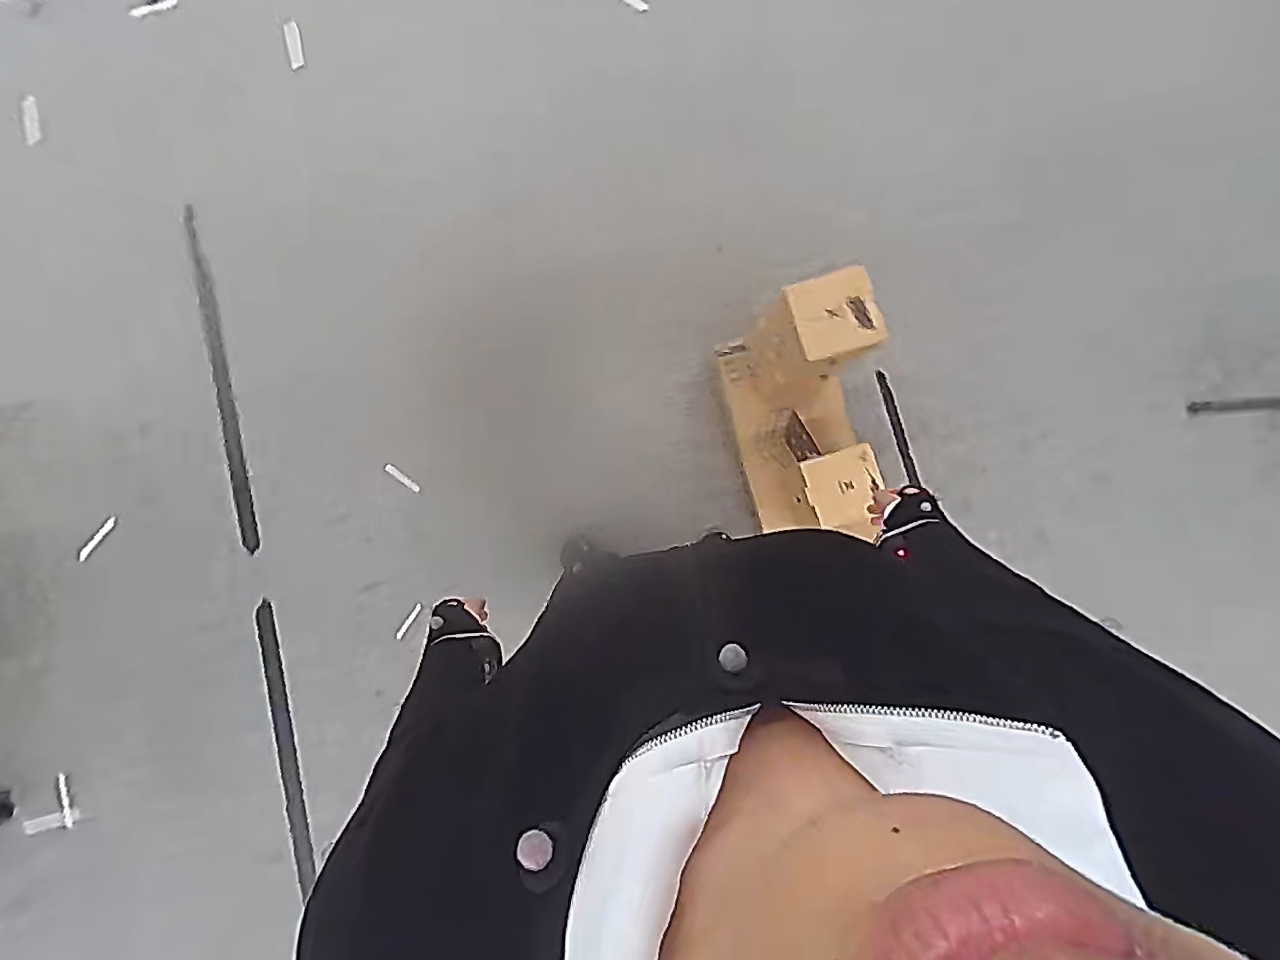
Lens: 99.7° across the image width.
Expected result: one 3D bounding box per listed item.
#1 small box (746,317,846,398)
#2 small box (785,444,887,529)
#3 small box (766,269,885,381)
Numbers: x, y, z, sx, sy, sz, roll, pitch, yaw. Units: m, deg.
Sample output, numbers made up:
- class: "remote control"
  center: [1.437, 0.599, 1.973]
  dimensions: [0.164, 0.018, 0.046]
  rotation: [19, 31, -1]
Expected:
- class: "small box"
  center: [0.383, -0.316, 1.354]
  dimensions: [0.179, 0.176, 0.168]
  rotation: [-14, 86, -2]
- class: "small box"
  center: [0.469, 0.023, 1.332]
  dimensions: [0.179, 0.176, 0.168]
  rotation: [-16, 84, -1]
- class: "small box"
  center: [0.400, -0.333, 1.191]
  dimensions: [0.179, 0.176, 0.168]
  rotation: [-16, 86, -1]
